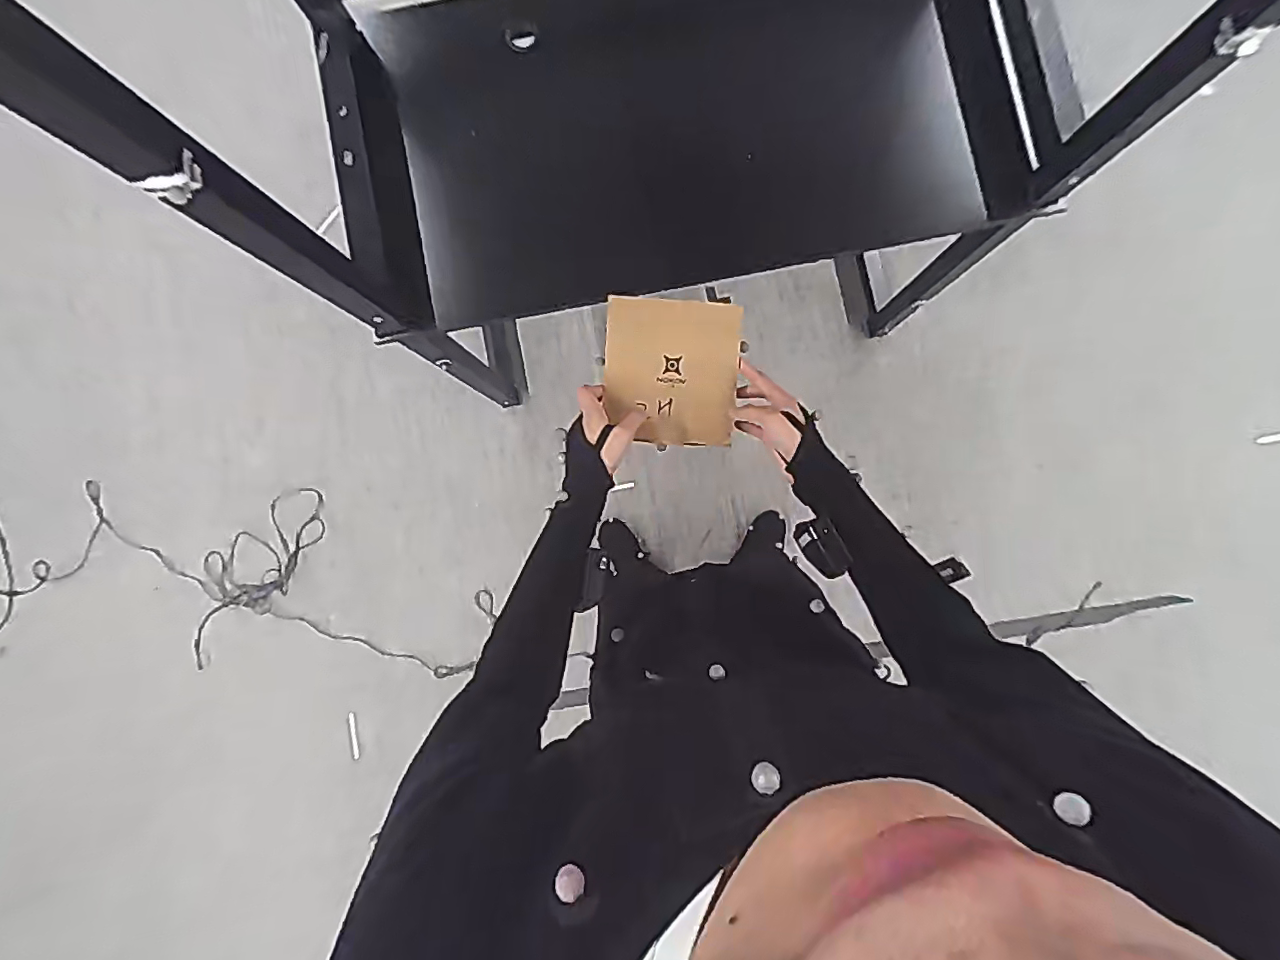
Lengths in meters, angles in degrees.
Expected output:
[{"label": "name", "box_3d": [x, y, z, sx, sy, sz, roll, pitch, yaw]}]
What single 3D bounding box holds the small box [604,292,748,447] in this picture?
[{"label": "small box", "box_3d": [0.042, -0.141, 0.733, 0.168, 0.176, 0.179, 4, 97, 0]}]
